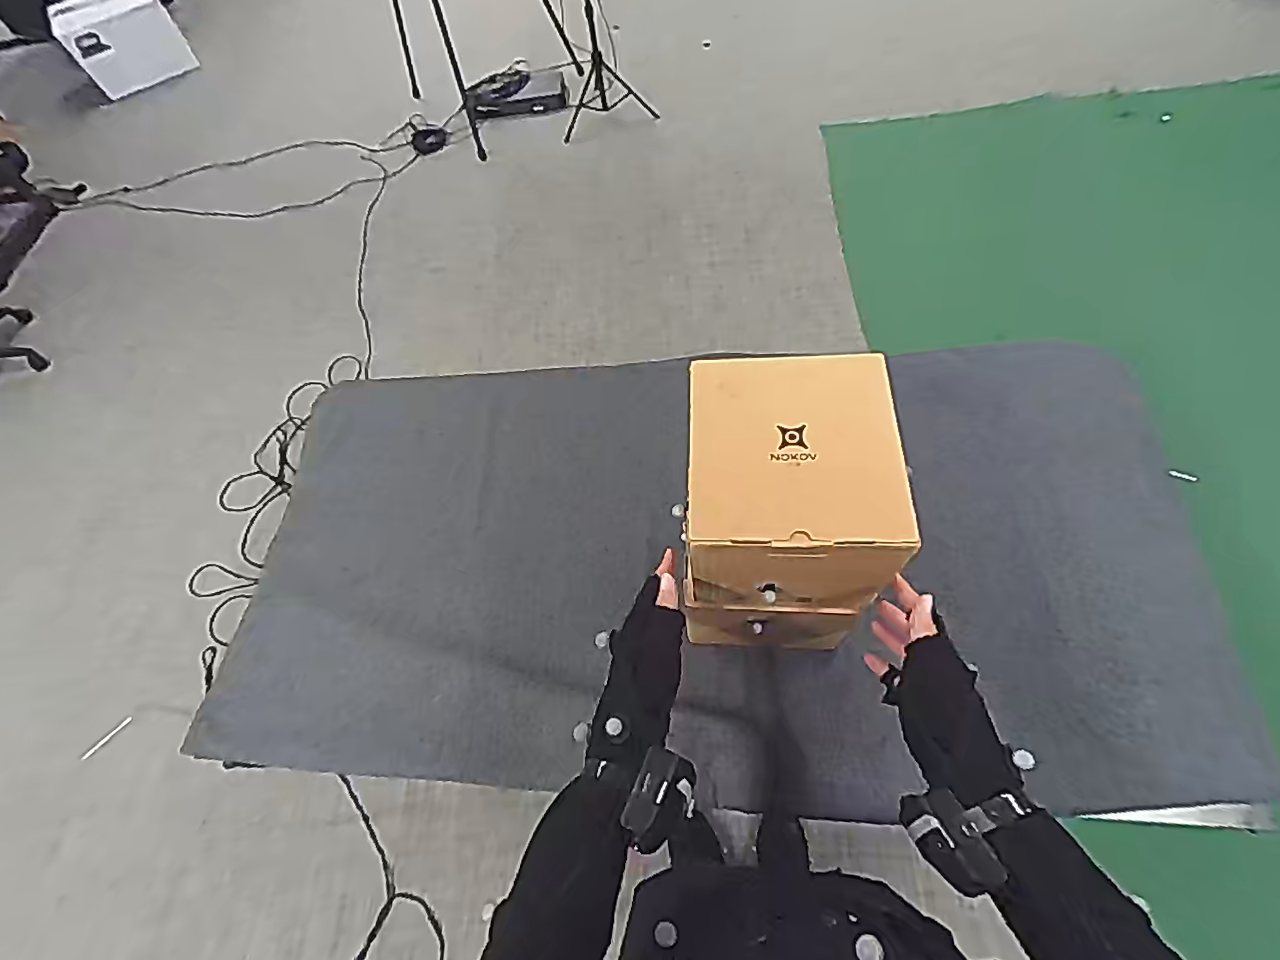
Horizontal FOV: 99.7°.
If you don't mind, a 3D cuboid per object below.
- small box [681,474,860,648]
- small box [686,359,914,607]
[{"bbox_3d":[0.143,0.097,0.639,0.179,0.176,0.168,1,62,8],"label":"small box"},{"bbox_3d":[0.128,0.010,0.503,0.168,0.176,0.179,-1,62,7],"label":"small box"}]
